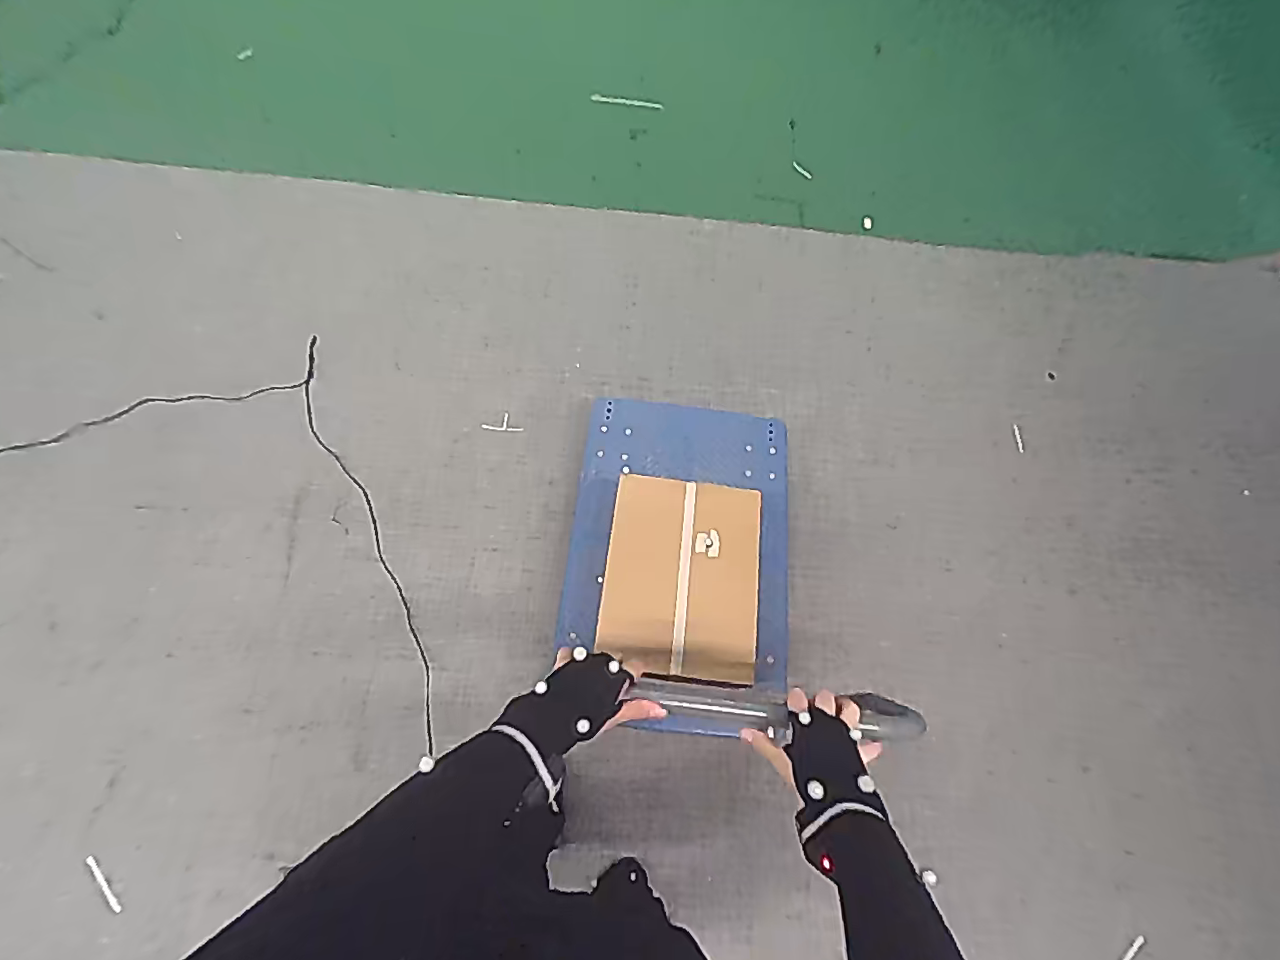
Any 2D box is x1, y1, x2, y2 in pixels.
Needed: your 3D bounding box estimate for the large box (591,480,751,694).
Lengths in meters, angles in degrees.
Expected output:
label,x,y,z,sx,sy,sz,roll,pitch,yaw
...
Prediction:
label,x,y,z,sx,sy,sz,roll,pitch,yaw
large box,0.066,0.261,1.254,0.320,0.320,0.408,9,65,-2
